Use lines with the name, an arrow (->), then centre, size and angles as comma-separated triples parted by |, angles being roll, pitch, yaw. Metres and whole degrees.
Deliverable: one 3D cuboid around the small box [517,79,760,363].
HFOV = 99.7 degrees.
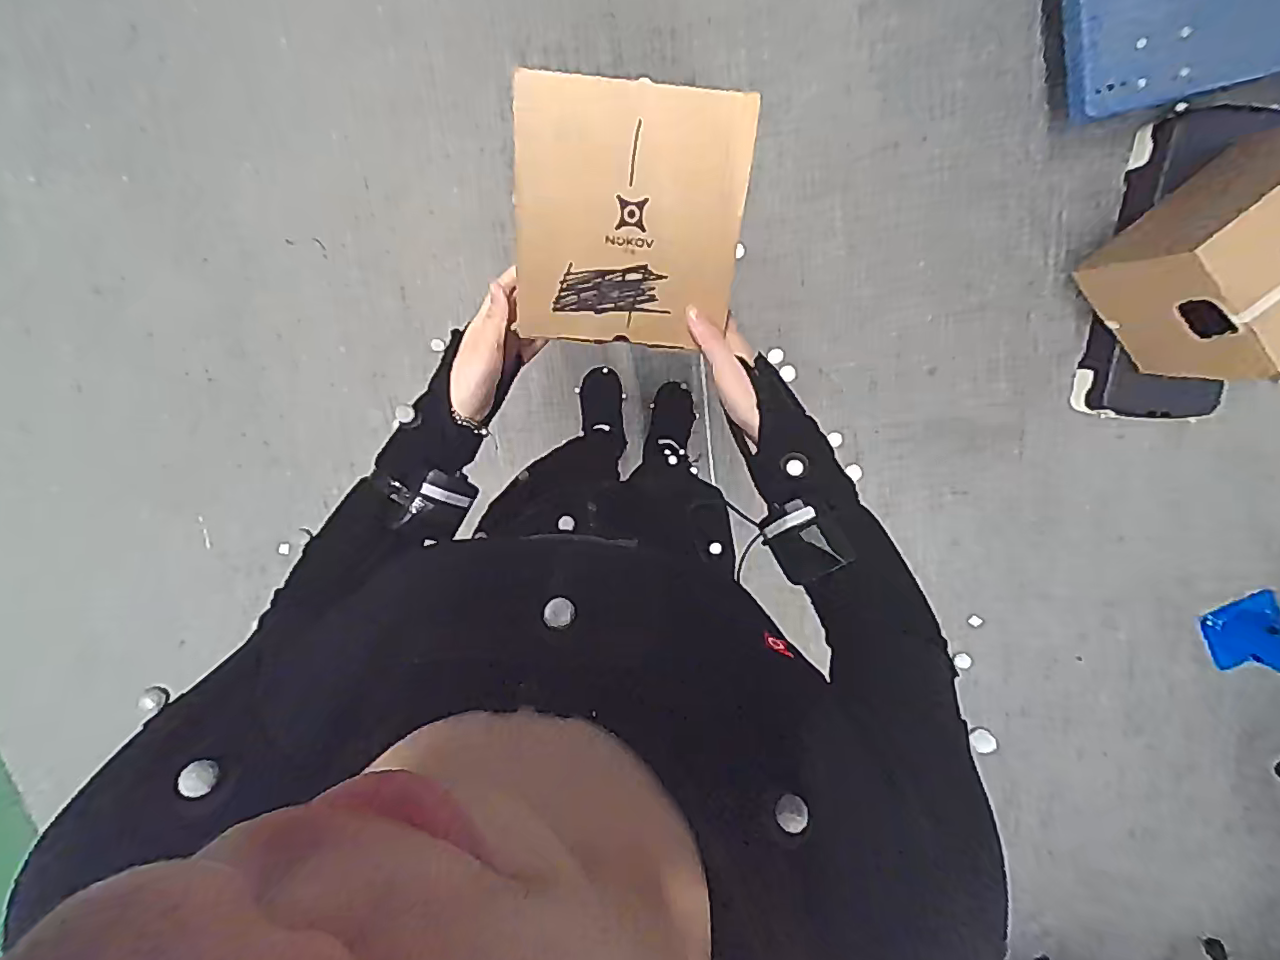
small box -> -0.010, -0.215, 0.467 | 0.168, 0.176, 0.179 | 4, 117, -4
